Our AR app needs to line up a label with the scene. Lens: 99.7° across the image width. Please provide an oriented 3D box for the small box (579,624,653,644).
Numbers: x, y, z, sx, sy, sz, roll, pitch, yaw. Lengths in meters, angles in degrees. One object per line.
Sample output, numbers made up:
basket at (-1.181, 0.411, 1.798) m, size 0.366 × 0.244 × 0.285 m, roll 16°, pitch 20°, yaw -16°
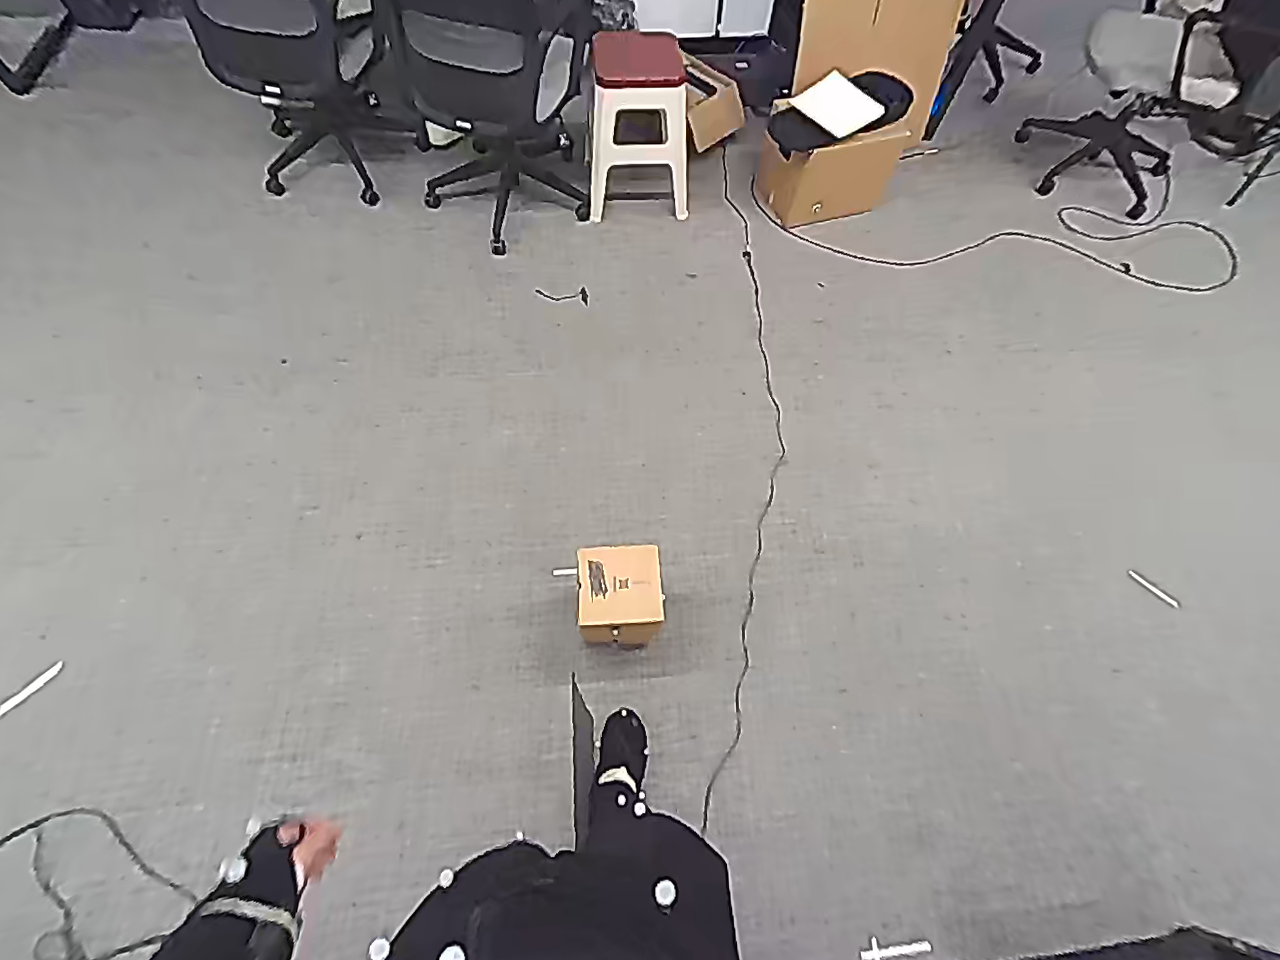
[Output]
small box at (-0.057, 0.315, 1.361) m, size 0.179 × 0.176 × 0.168 m, roll 3°, pitch 64°, yaw -2°

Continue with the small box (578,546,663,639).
small box at (-0.045, 0.256, 1.207) m, size 0.179 × 0.176 × 0.168 m, roll -2°, pitch 64°, yaw -4°
